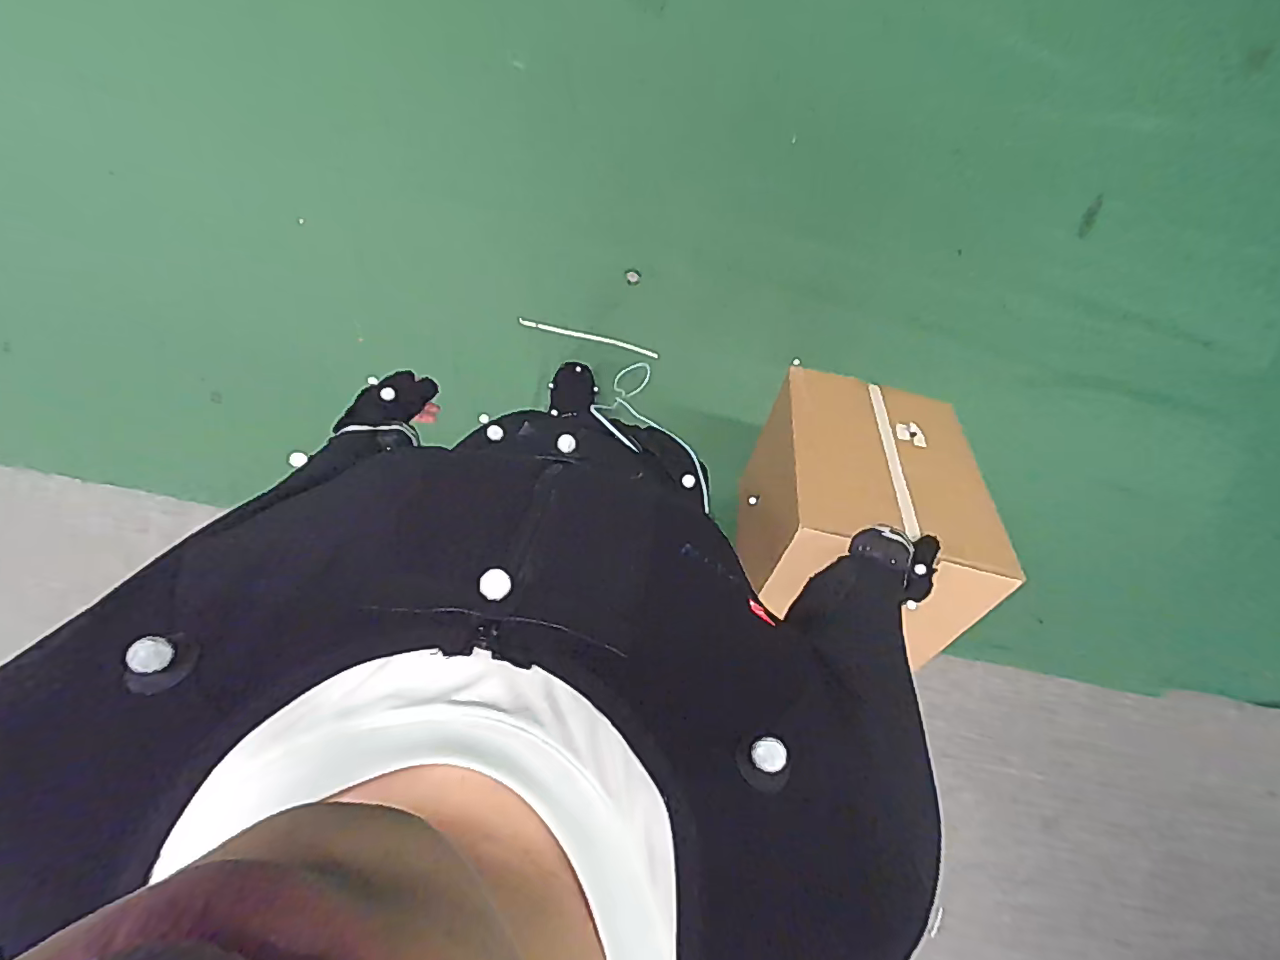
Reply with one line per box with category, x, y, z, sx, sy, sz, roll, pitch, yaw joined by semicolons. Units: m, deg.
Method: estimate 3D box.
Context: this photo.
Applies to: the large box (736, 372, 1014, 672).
large box;0.367;0.070;0.976;0.320;0.408;0.320;15;134;-1
